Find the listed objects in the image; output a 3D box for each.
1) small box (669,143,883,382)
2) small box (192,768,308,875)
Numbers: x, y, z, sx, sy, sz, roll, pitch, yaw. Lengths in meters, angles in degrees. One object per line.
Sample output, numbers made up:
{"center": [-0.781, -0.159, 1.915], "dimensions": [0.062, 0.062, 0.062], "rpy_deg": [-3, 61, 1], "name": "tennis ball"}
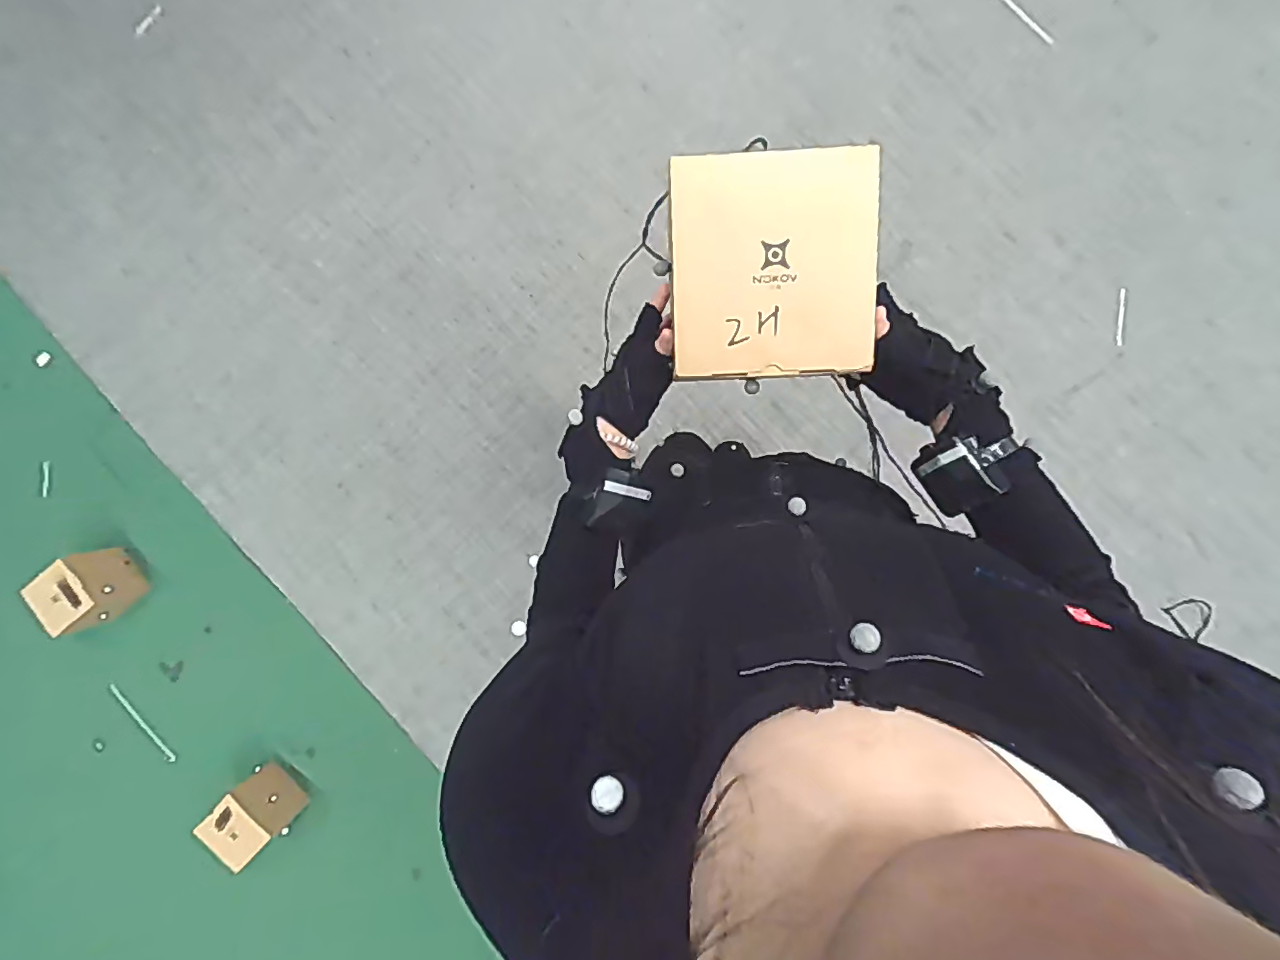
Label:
{"center": [0.112, -0.185, 0.511], "dimensions": [0.168, 0.176, 0.179], "rpy_deg": [-1, 99, 3], "name": "small box"}
{"center": [-1.130, 0.983, 1.580], "dimensions": [0.179, 0.176, 0.168], "rpy_deg": [45, 97, 0], "name": "small box"}
